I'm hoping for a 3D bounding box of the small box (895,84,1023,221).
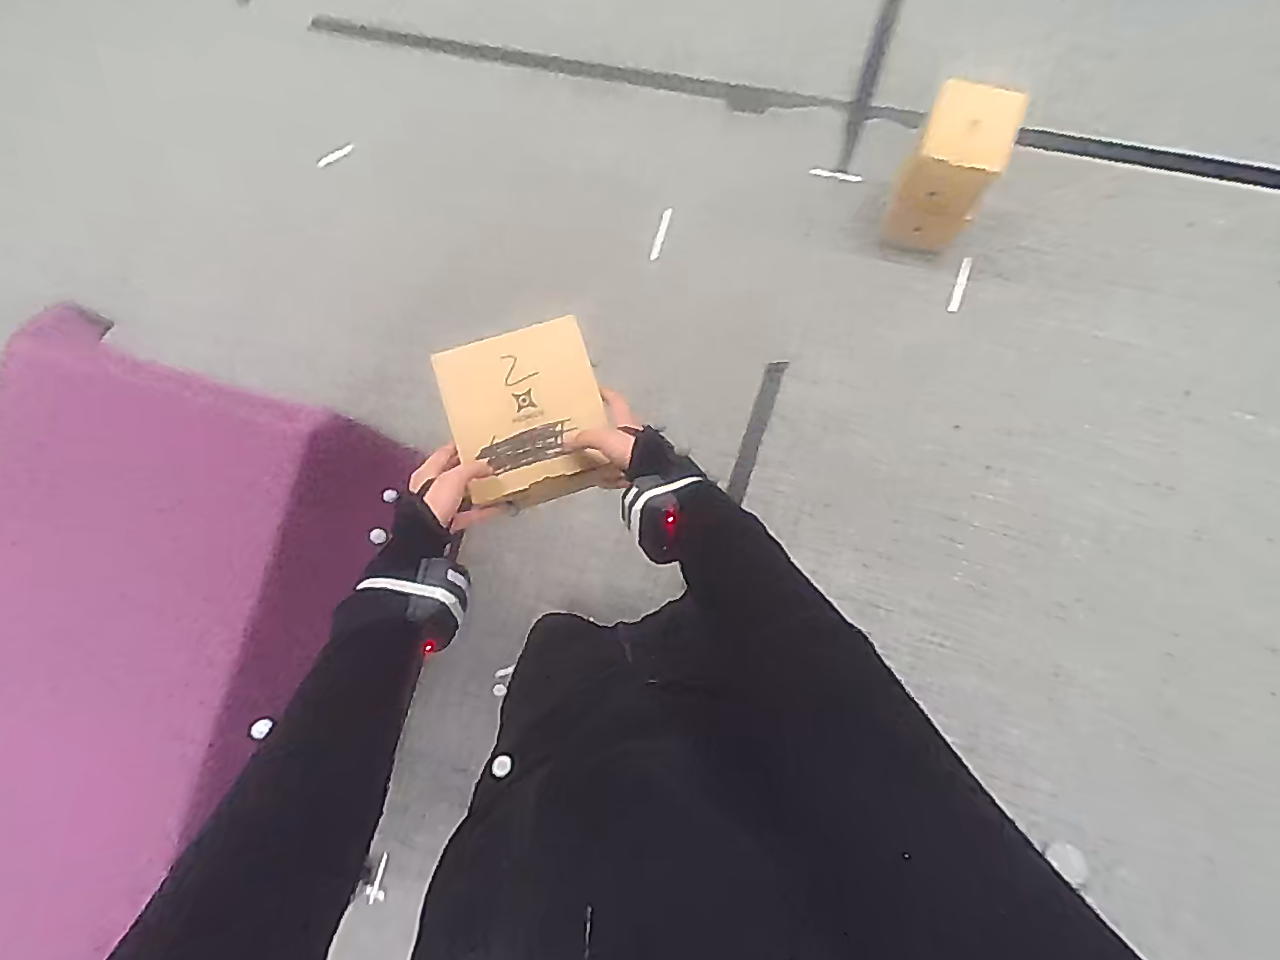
[{"bbox_3d":[0.687,-0.710,1.187,0.168,0.176,0.179,19,89,9],"label":"small box"}]

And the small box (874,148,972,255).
[{"bbox_3d":[0.711,-0.684,1.347,0.179,0.176,0.168,15,88,10],"label":"small box"}]
